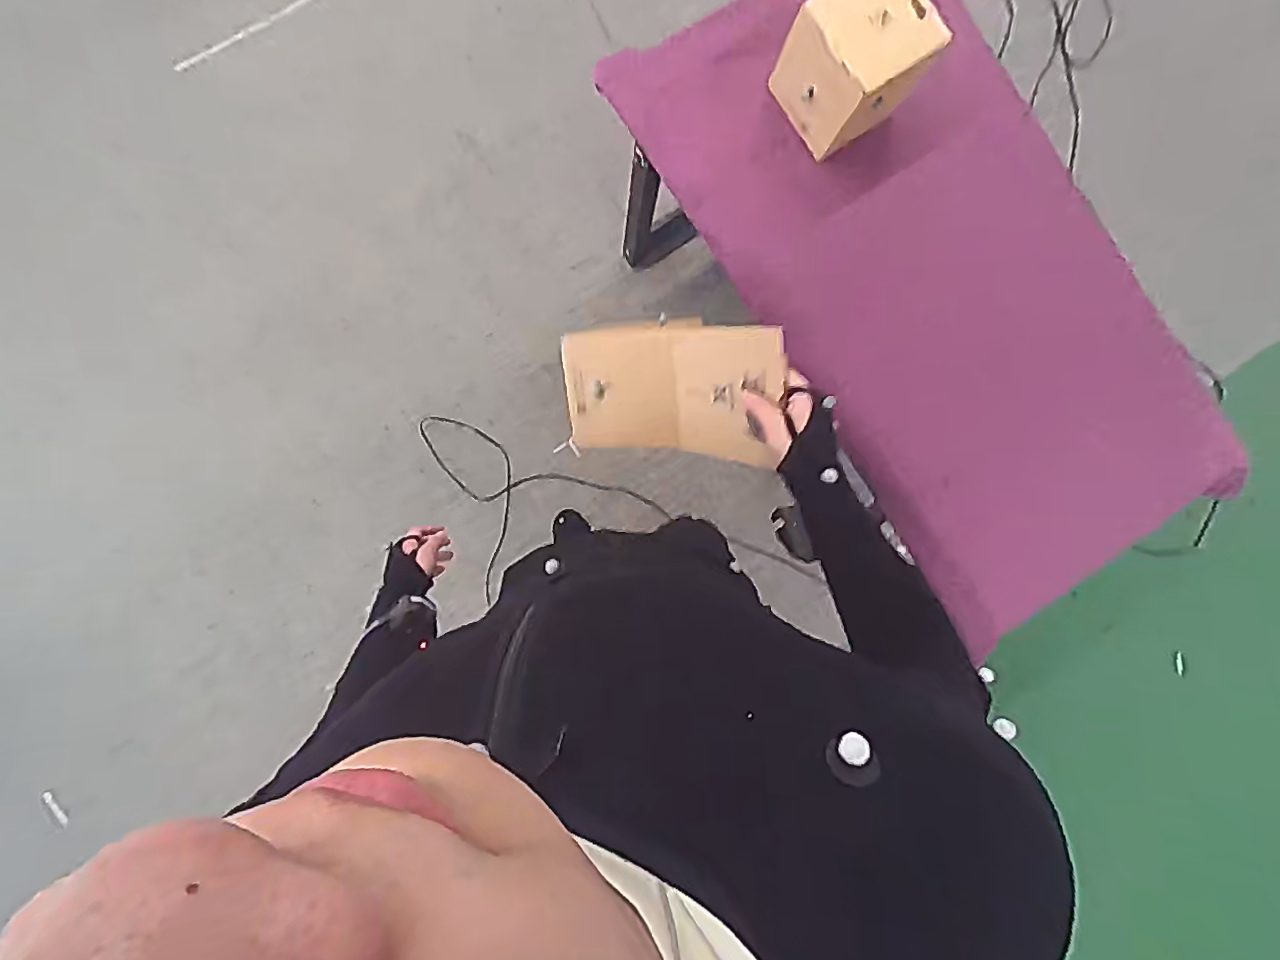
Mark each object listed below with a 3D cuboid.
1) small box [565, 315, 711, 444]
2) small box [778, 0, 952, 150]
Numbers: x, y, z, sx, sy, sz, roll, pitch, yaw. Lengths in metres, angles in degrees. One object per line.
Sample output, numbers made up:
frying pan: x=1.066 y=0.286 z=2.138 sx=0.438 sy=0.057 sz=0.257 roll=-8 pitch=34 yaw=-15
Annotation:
small box: x=0.004 y=-0.156 z=0.812 sx=0.176 sy=0.179 sz=0.168 roll=3 pitch=110 yaw=21
small box: x=0.347 y=-0.689 z=0.879 sx=0.179 sy=0.176 sz=0.168 roll=-35 pitch=92 yaw=-4
